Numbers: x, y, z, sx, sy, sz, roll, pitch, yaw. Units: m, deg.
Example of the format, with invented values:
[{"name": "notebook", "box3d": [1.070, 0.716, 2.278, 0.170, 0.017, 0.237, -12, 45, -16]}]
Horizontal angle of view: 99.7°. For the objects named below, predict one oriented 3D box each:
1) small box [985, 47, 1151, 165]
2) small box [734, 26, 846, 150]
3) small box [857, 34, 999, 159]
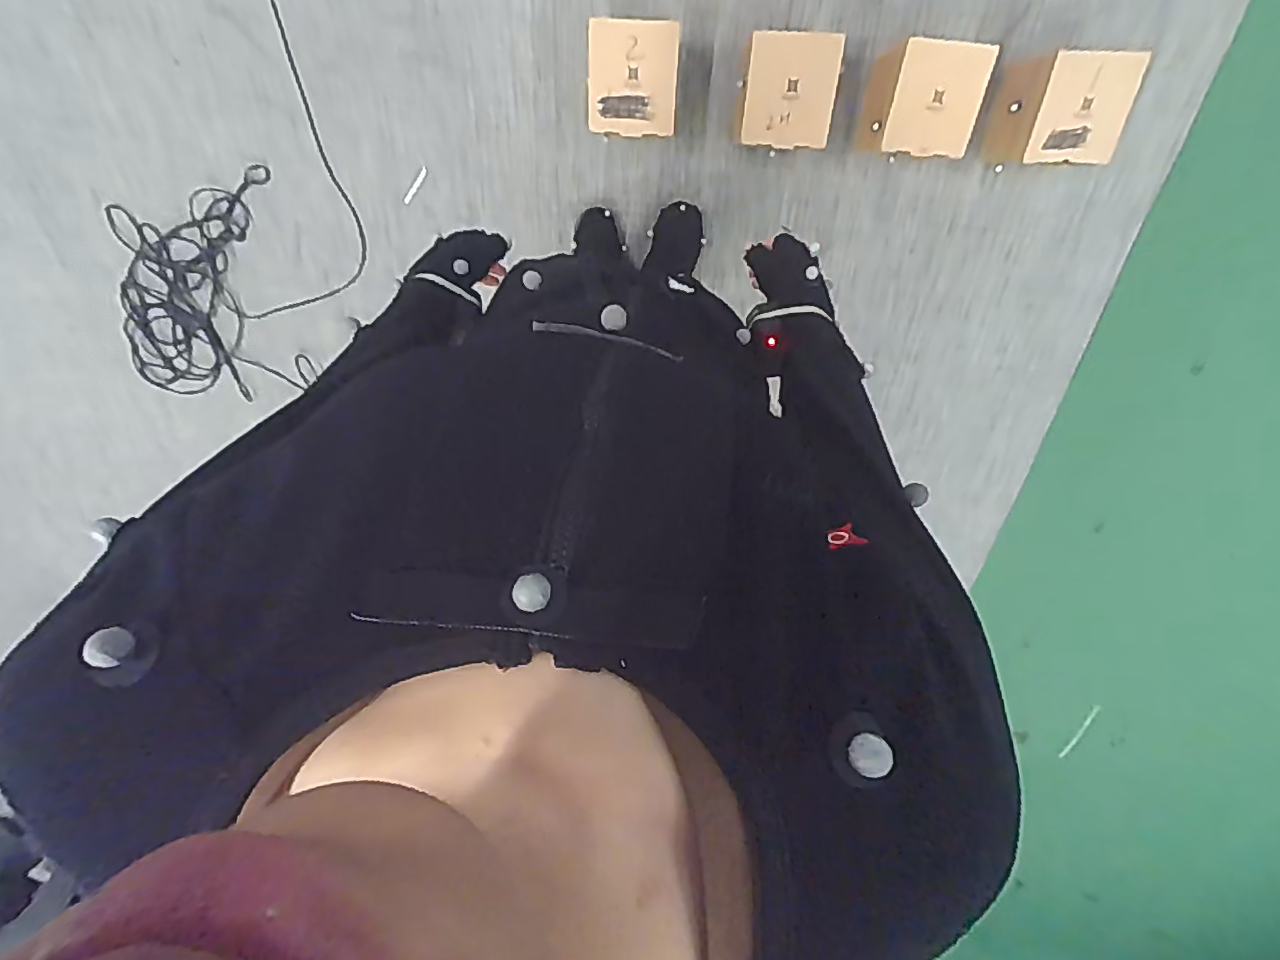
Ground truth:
[{"name": "small box", "box3d": [0.817, -0.721, 1.059, 0.168, 0.176, 0.179, 2, 120, 1]}, {"name": "small box", "box3d": [0.282, -0.756, 1.060, 0.168, 0.176, 0.179, 4, 121, 2]}, {"name": "small box", "box3d": [0.549, -0.740, 1.061, 0.168, 0.176, 0.179, 5, 121, -1]}]
